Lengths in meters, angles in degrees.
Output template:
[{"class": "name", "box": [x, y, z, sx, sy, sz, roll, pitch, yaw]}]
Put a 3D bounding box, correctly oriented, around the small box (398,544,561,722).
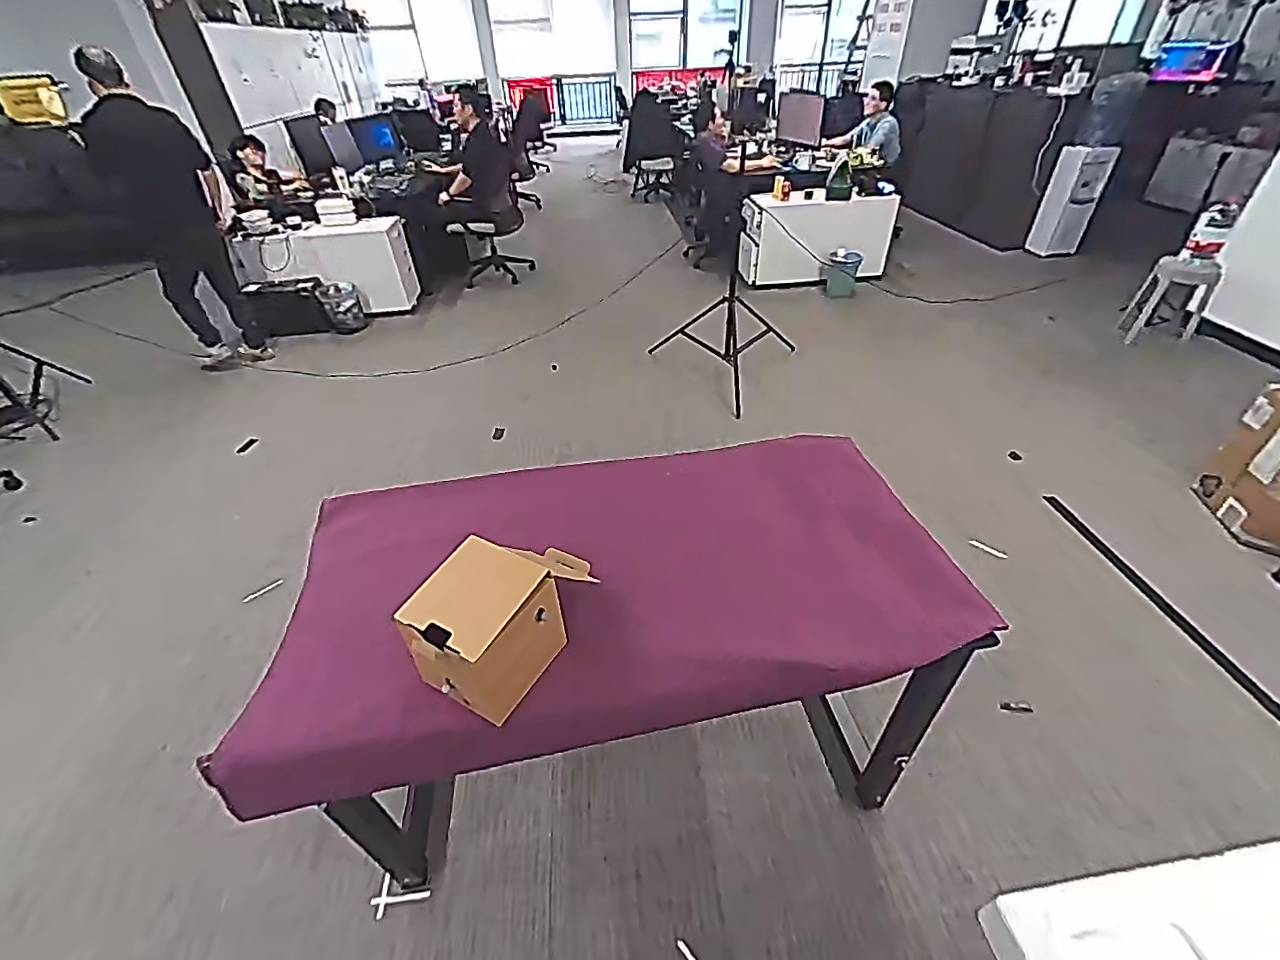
[{"class": "small box", "box": [-0.241, 0.239, 0.860, 0.168, 0.176, 0.179, 17, 42, 26]}]
